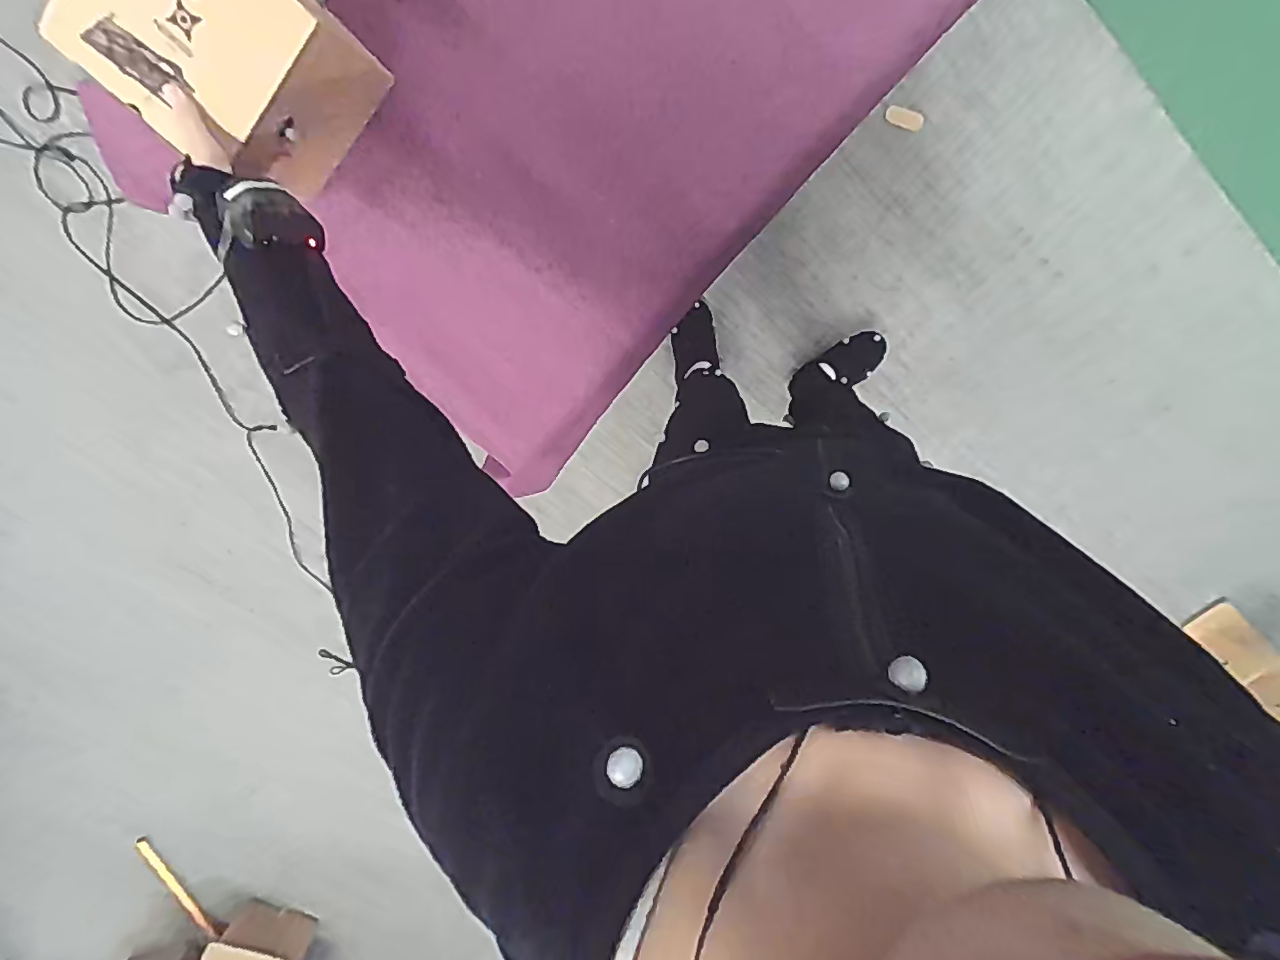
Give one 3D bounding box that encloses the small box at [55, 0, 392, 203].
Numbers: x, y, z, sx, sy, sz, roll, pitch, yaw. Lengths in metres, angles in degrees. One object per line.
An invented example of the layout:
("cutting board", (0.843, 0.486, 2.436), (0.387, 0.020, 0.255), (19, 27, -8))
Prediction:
("small box", (-0.382, -0.403, 0.532), (0.168, 0.176, 0.179), (42, 105, -16))
